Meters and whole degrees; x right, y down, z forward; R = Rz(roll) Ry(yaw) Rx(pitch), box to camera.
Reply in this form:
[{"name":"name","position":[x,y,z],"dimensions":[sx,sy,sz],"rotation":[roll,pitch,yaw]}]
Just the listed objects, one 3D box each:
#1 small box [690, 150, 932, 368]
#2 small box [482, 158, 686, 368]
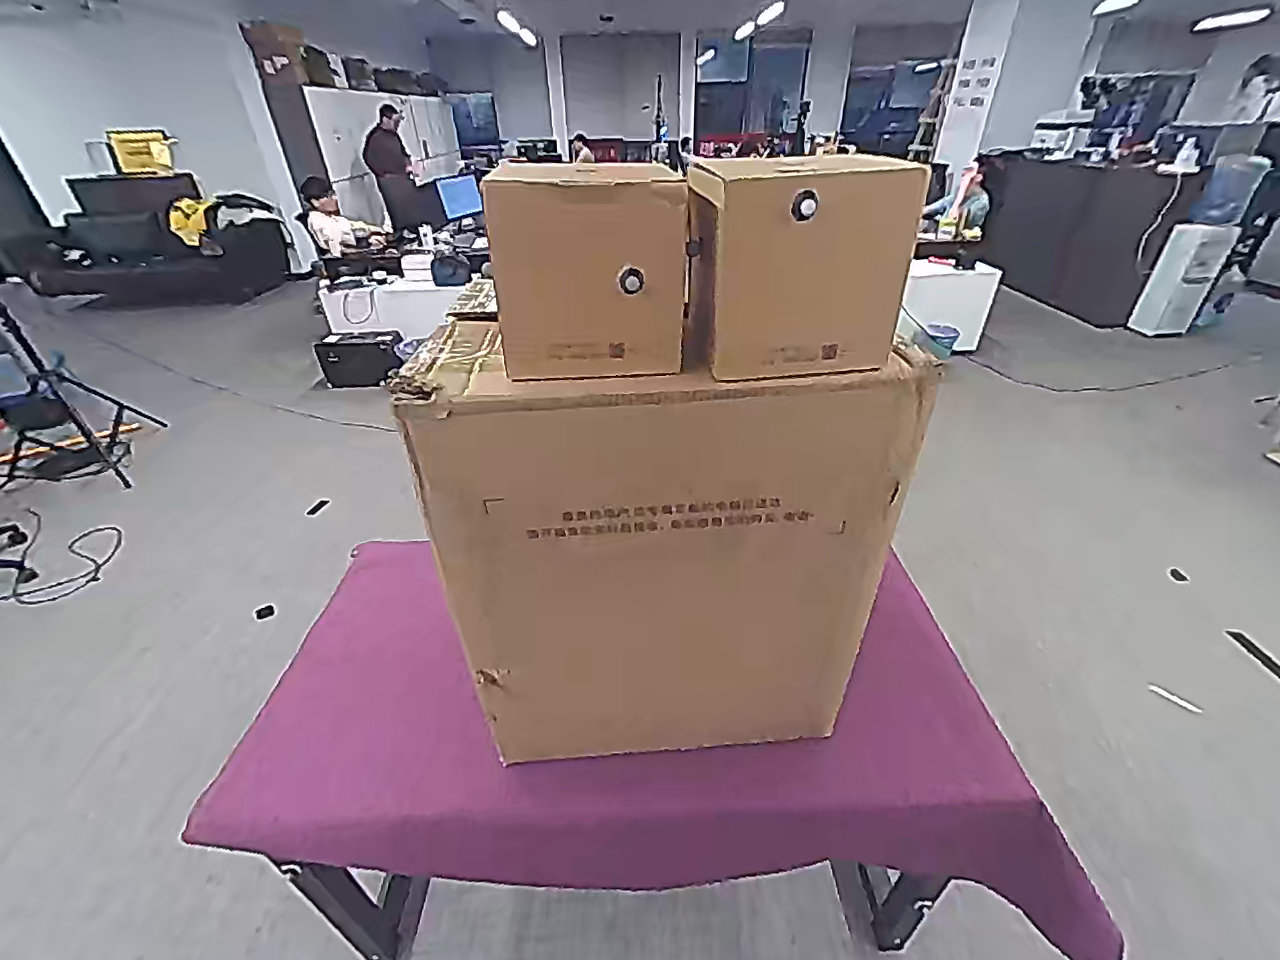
[{"name":"small box","position":[0.142,-0.219,0.527],"dimensions":[0.168,0.176,0.179],"rotation":[-5,33,-3]},{"name":"small box","position":[-0.050,-0.217,0.536],"dimensions":[0.168,0.176,0.179],"rotation":[-2,32,-6]}]
